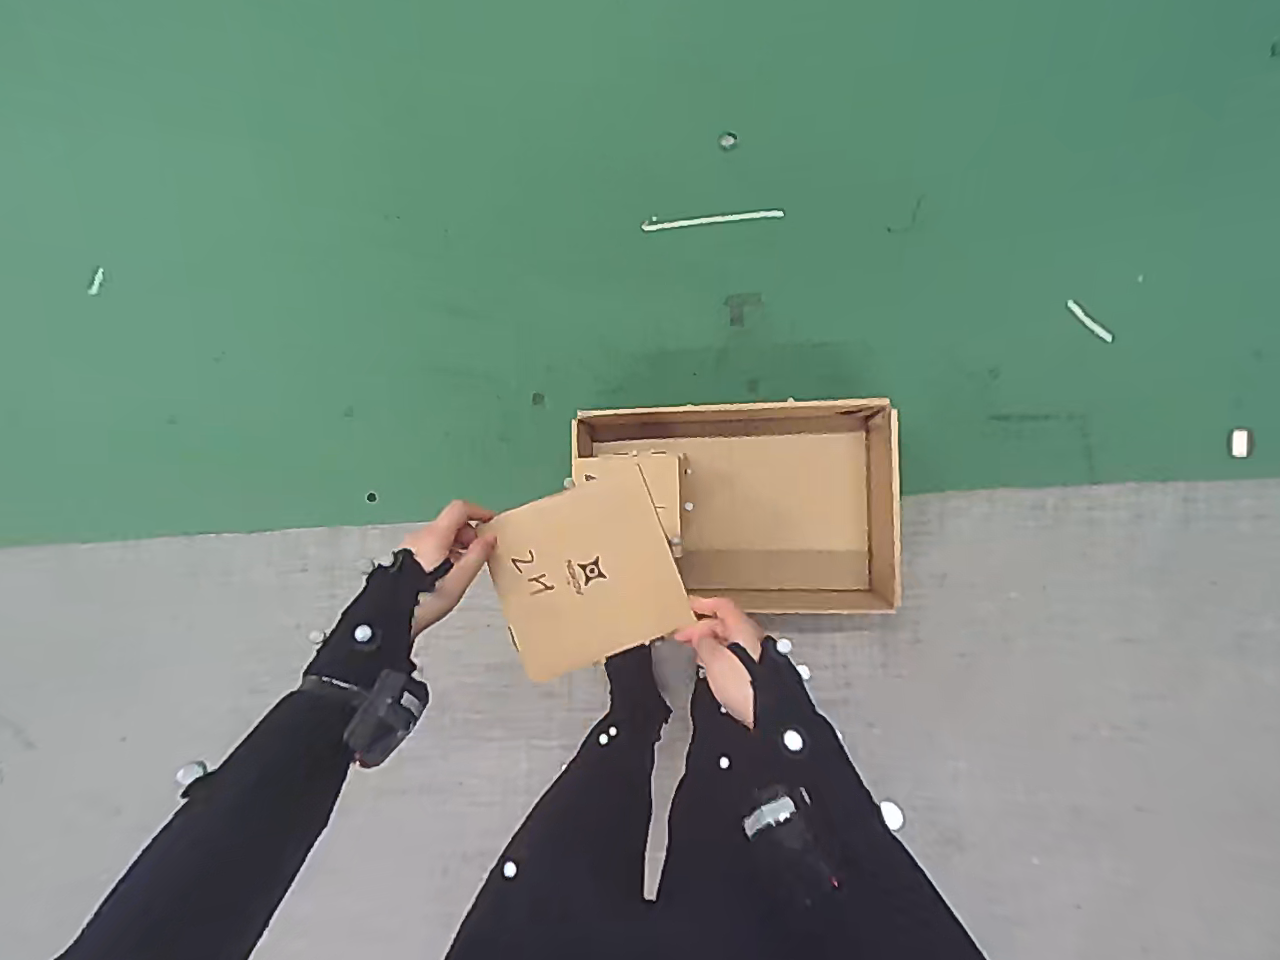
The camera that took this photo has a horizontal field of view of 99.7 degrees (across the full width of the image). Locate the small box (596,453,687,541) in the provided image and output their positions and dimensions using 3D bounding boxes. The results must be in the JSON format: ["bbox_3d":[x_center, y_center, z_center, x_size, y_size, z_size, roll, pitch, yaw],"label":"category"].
[{"bbox_3d":[0.009,0.035,1.103,0.168,0.176,0.179,-3,90,7],"label":"small box"}]

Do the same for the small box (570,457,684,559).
[{"bbox_3d":[-0.016,0.046,0.941,0.179,0.176,0.168,-2,91,6],"label":"small box"}]

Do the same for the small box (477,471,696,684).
[{"bbox_3d":[-0.052,0.098,0.604,0.179,0.176,0.168,-20,85,0],"label":"small box"}]
